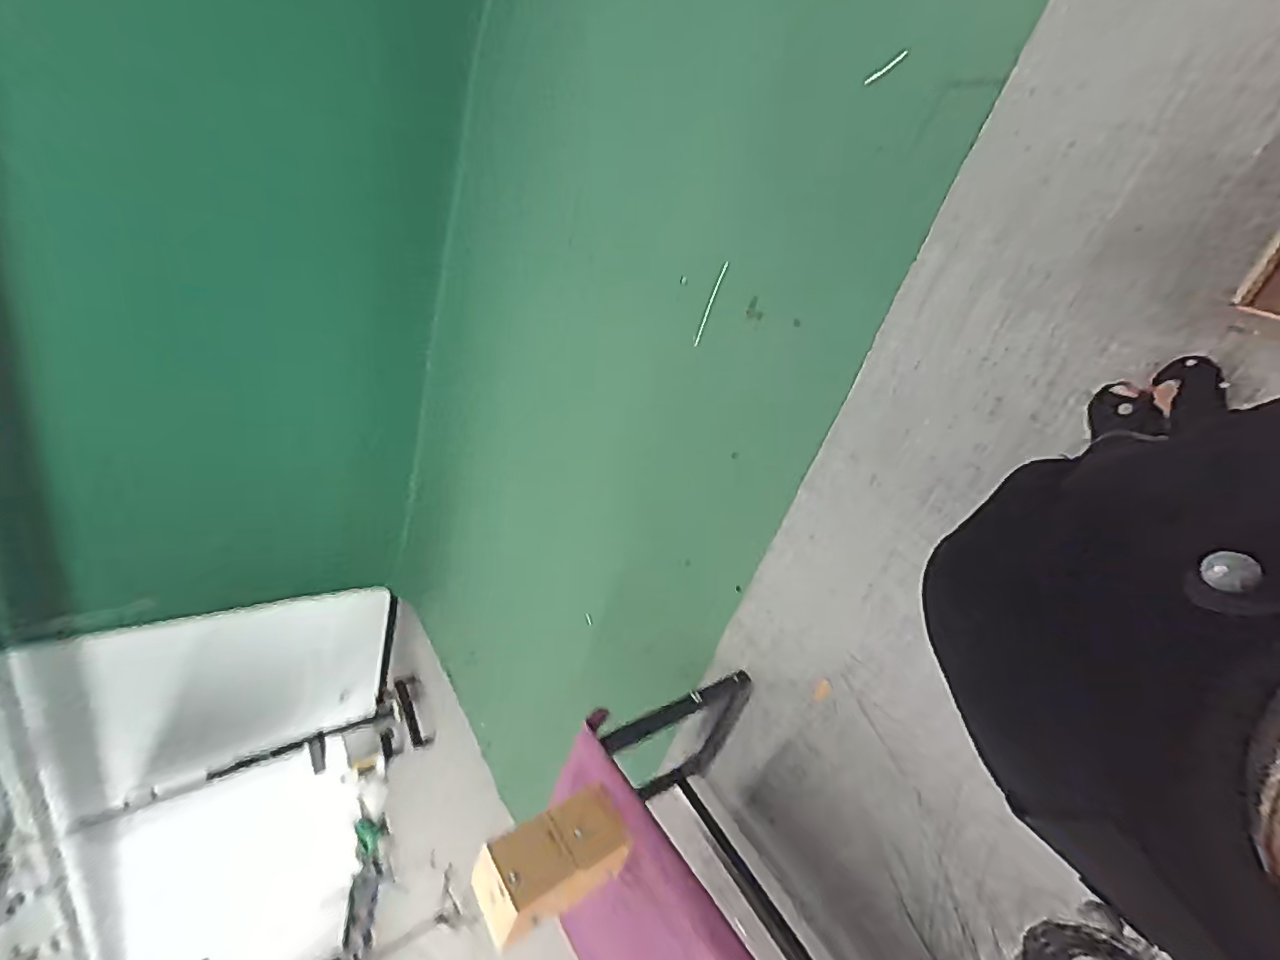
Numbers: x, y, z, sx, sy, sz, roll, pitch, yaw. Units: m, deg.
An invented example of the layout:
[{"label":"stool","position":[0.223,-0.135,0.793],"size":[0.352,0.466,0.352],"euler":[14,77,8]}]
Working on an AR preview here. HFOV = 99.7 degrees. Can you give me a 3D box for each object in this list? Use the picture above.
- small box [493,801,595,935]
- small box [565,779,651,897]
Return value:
[{"label":"small box","position":[-0.229,0.922,1.298],"size":[0.168,0.176,0.179],"euler":[41,124,38]},{"label":"small box","position":[-0.101,0.912,1.401],"size":[0.179,0.176,0.168],"euler":[41,123,39]}]
